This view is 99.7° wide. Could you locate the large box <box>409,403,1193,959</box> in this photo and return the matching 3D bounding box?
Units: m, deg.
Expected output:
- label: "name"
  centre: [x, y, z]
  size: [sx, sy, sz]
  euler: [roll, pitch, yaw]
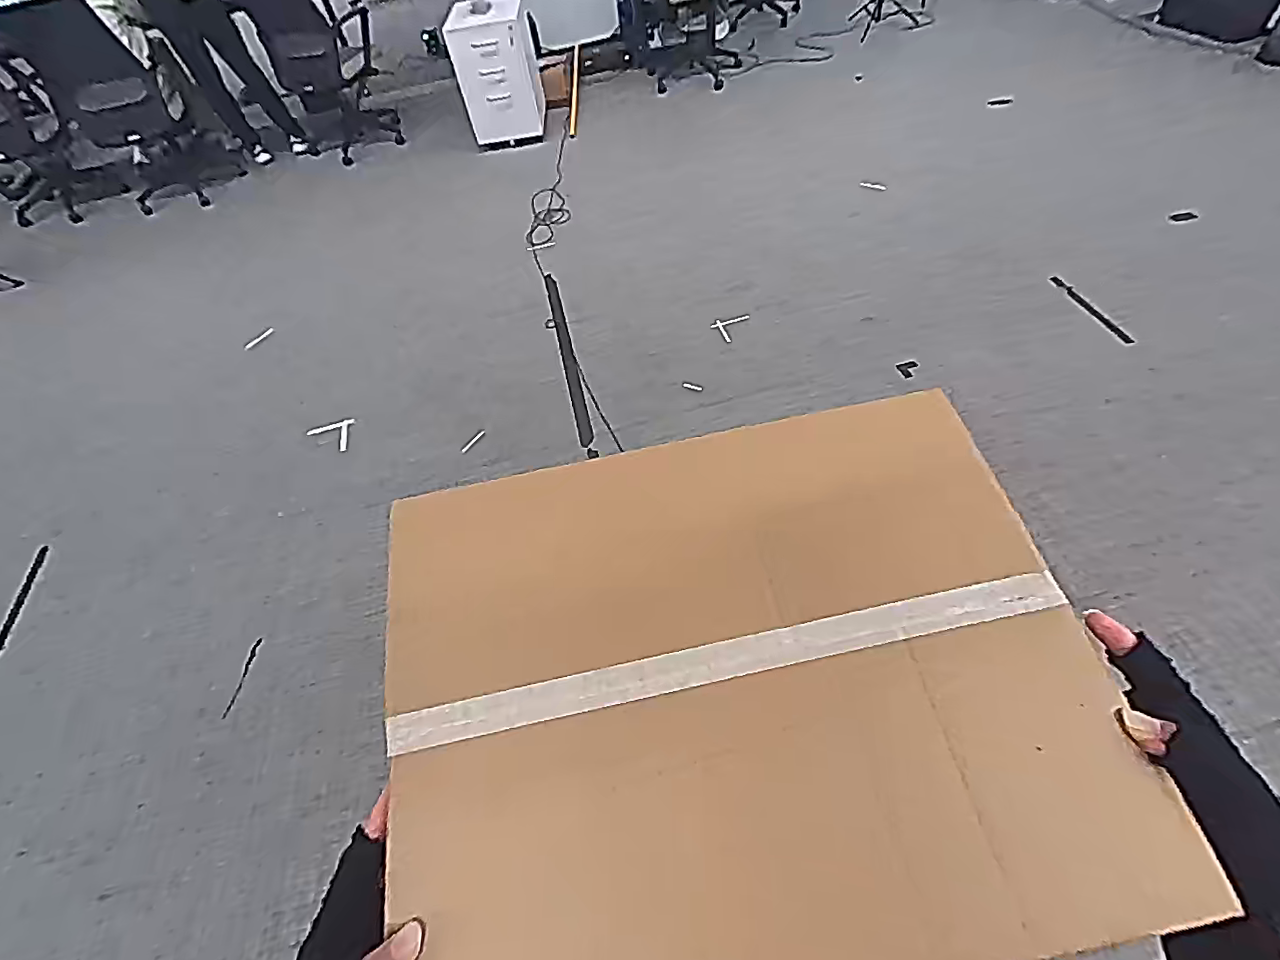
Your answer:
- label: "large box"
  centre: [0.065, 0.185, 0.463]
  size: [0.408, 0.320, 0.320]
  euler: [-12, 62, -2]
